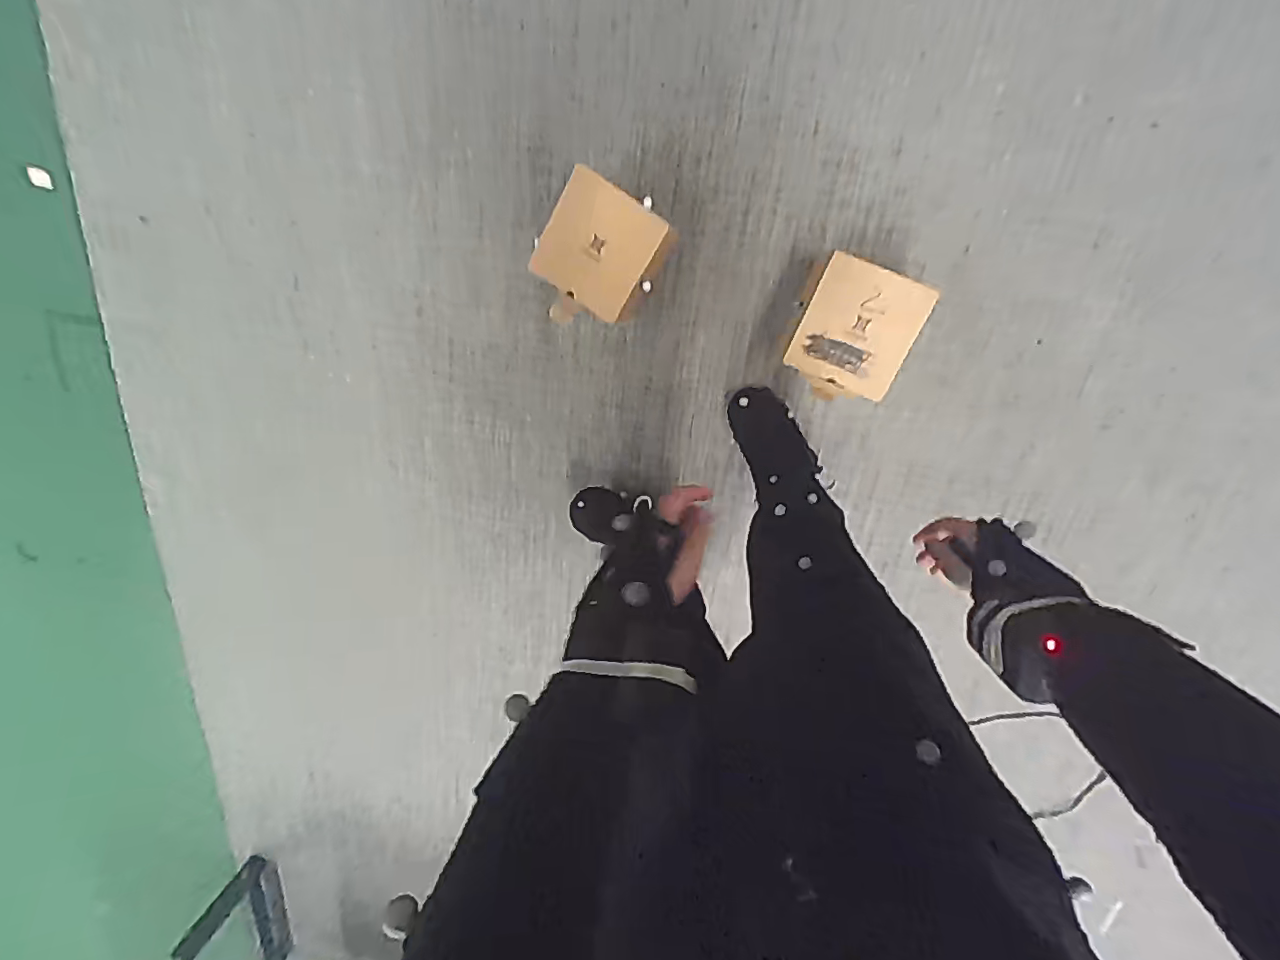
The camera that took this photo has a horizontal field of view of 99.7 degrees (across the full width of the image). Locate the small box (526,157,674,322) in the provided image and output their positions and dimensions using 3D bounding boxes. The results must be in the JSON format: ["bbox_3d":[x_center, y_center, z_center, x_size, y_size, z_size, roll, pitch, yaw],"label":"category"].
[{"bbox_3d":[-0.056,-0.387,0.889,0.168,0.176,0.179,33,113,-4],"label":"small box"}]
